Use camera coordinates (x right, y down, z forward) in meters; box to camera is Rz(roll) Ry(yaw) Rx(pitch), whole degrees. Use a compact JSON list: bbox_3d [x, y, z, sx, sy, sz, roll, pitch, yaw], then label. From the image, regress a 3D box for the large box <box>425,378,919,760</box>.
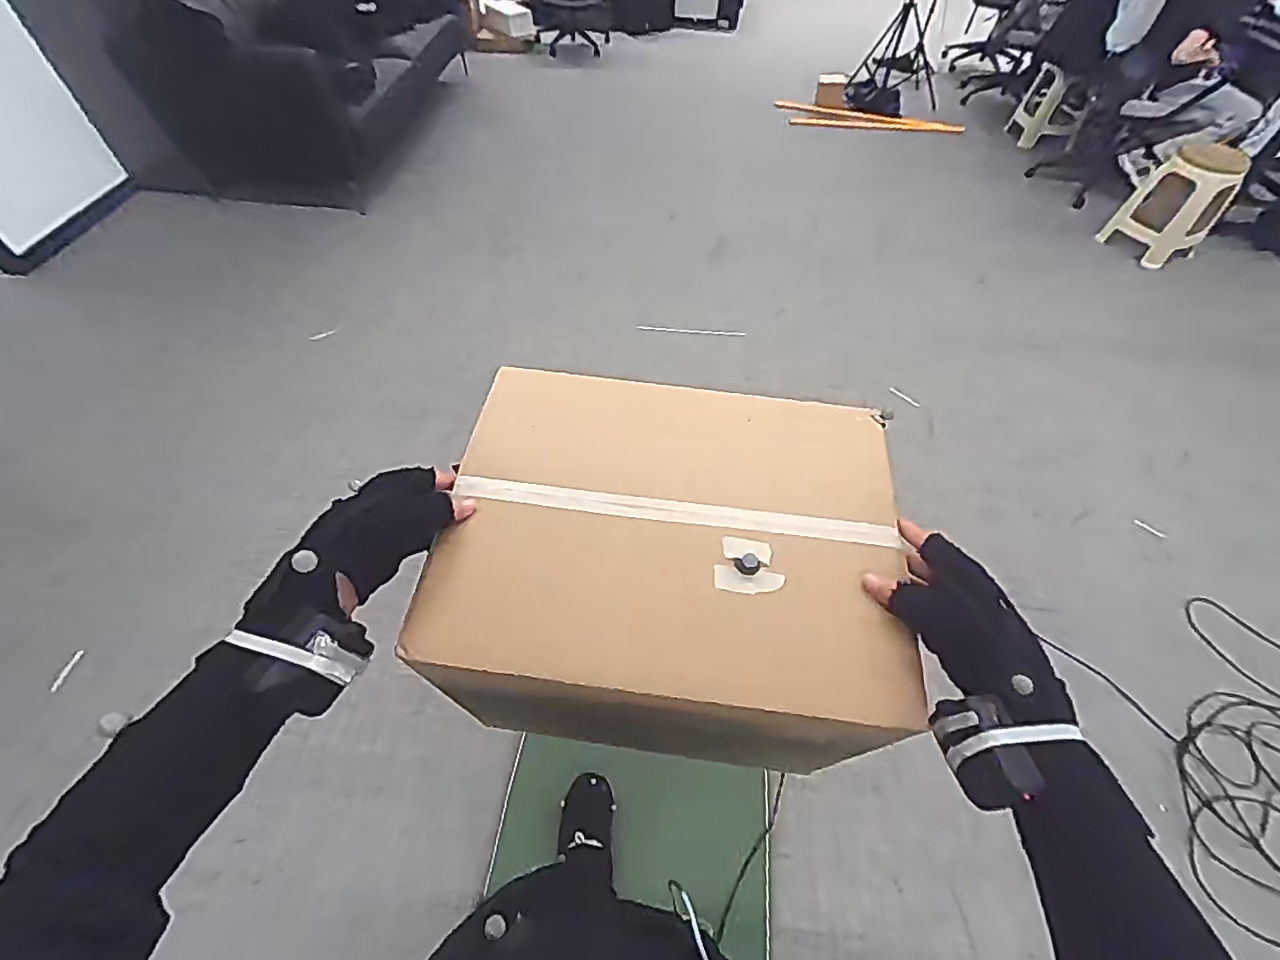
[{"bbox_3d":[0.031,0.116,0.630,0.408,0.320,0.320,7,57,2],"label":"large box"}]
